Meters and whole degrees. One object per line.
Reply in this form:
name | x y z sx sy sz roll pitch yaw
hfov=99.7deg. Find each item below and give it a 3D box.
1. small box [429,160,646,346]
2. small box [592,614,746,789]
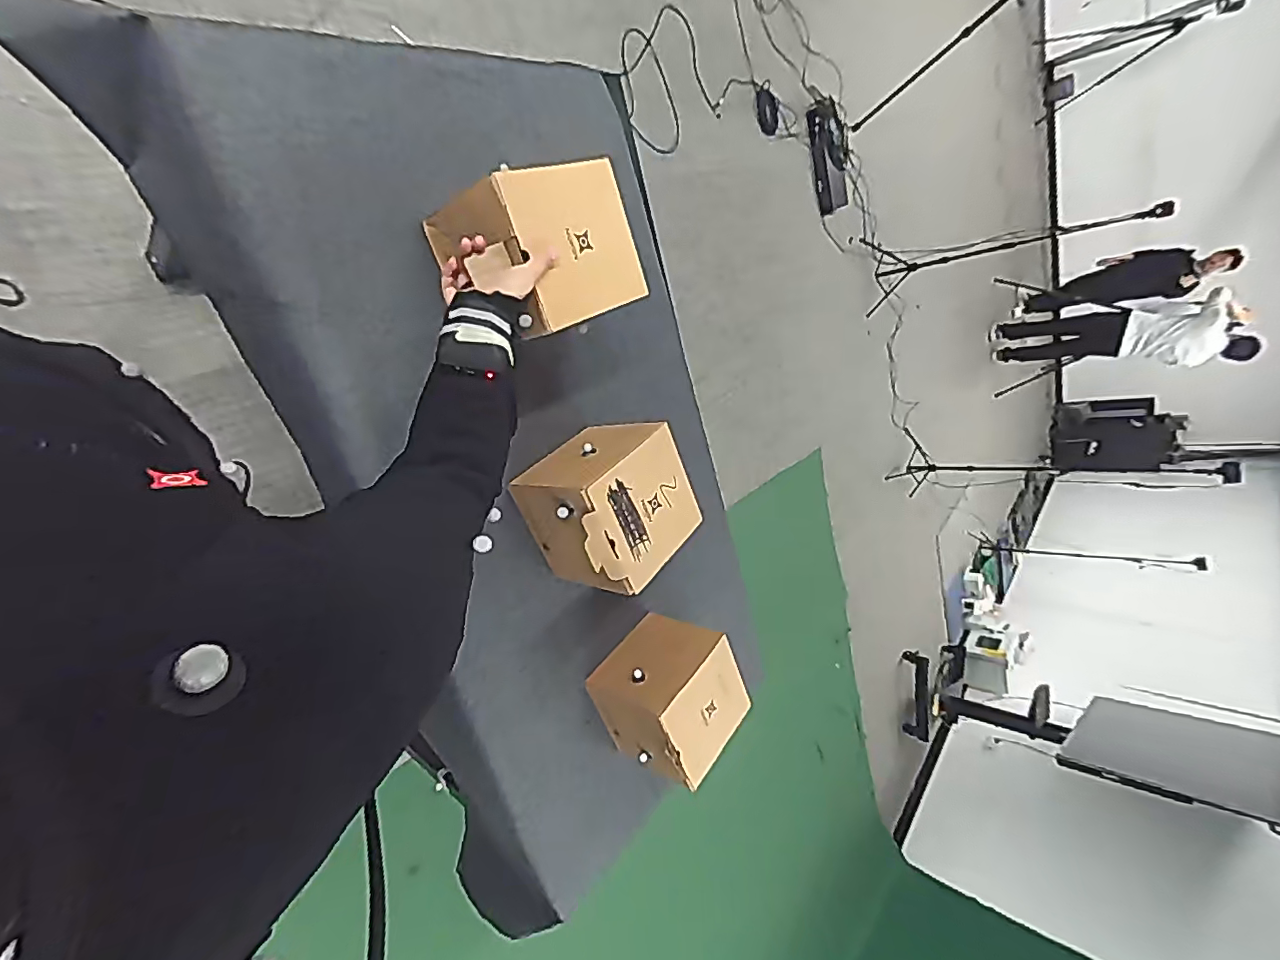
small box | -0.125 -0.277 0.675 0.179 0.176 0.168 -36 117 -39
small box | 0.043 0.348 0.882 0.179 0.176 0.168 -40 120 -38
